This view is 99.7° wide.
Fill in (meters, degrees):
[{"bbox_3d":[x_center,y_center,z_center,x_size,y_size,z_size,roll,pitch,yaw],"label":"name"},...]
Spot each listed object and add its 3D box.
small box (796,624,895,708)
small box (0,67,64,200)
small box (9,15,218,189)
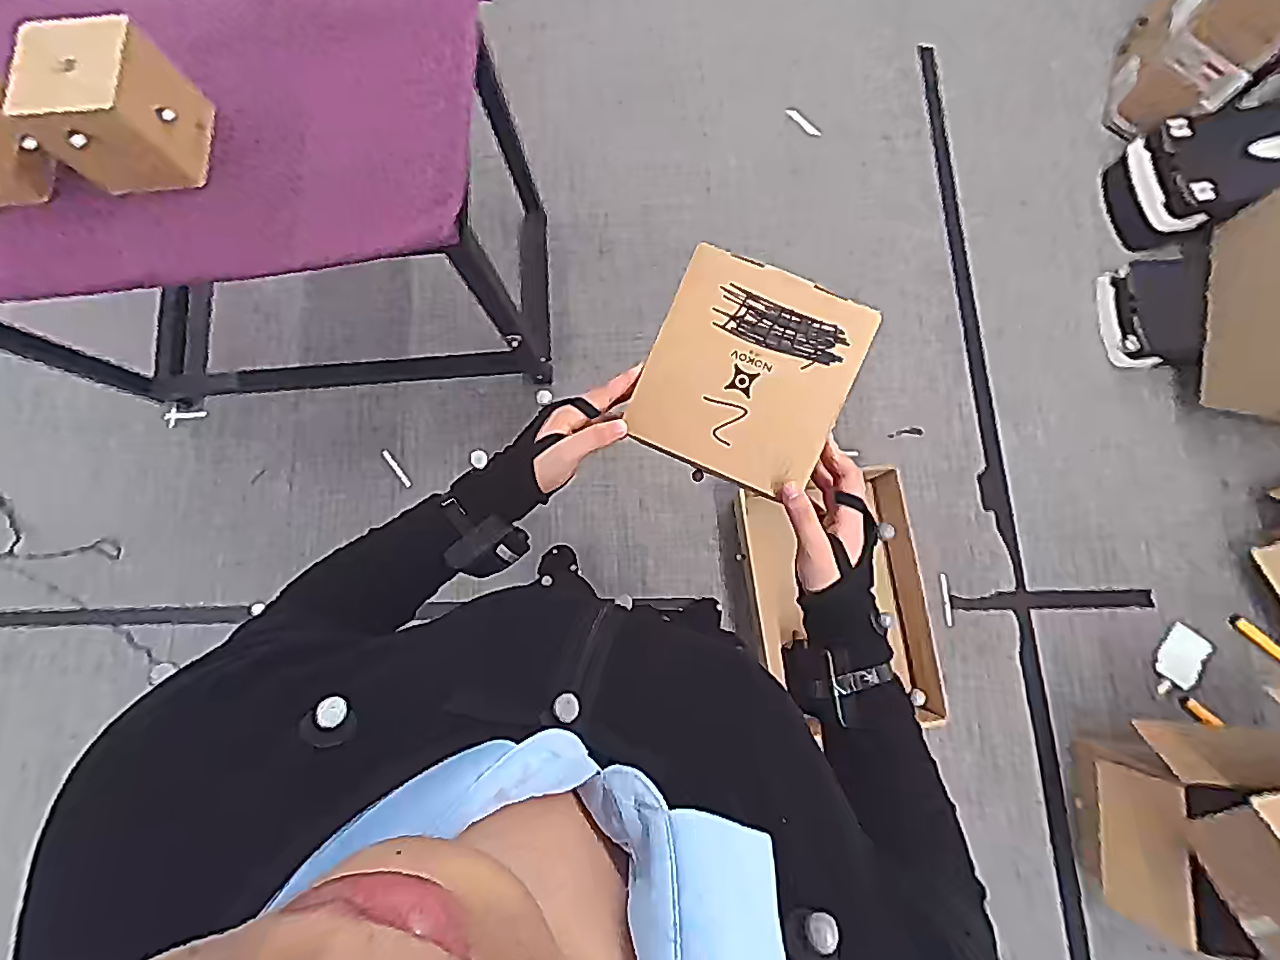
[{"bbox_3d":[0.490,0.447,1.320,0.179,0.176,0.168,-6,80,1],"label":"small box"},{"bbox_3d":[-1.124,-0.586,0.893,0.179,0.176,0.168,-2,80,2],"label":"small box"},{"bbox_3d":[-0.840,-0.605,0.884,0.179,0.176,0.168,-2,79,2],"label":"small box"}]
